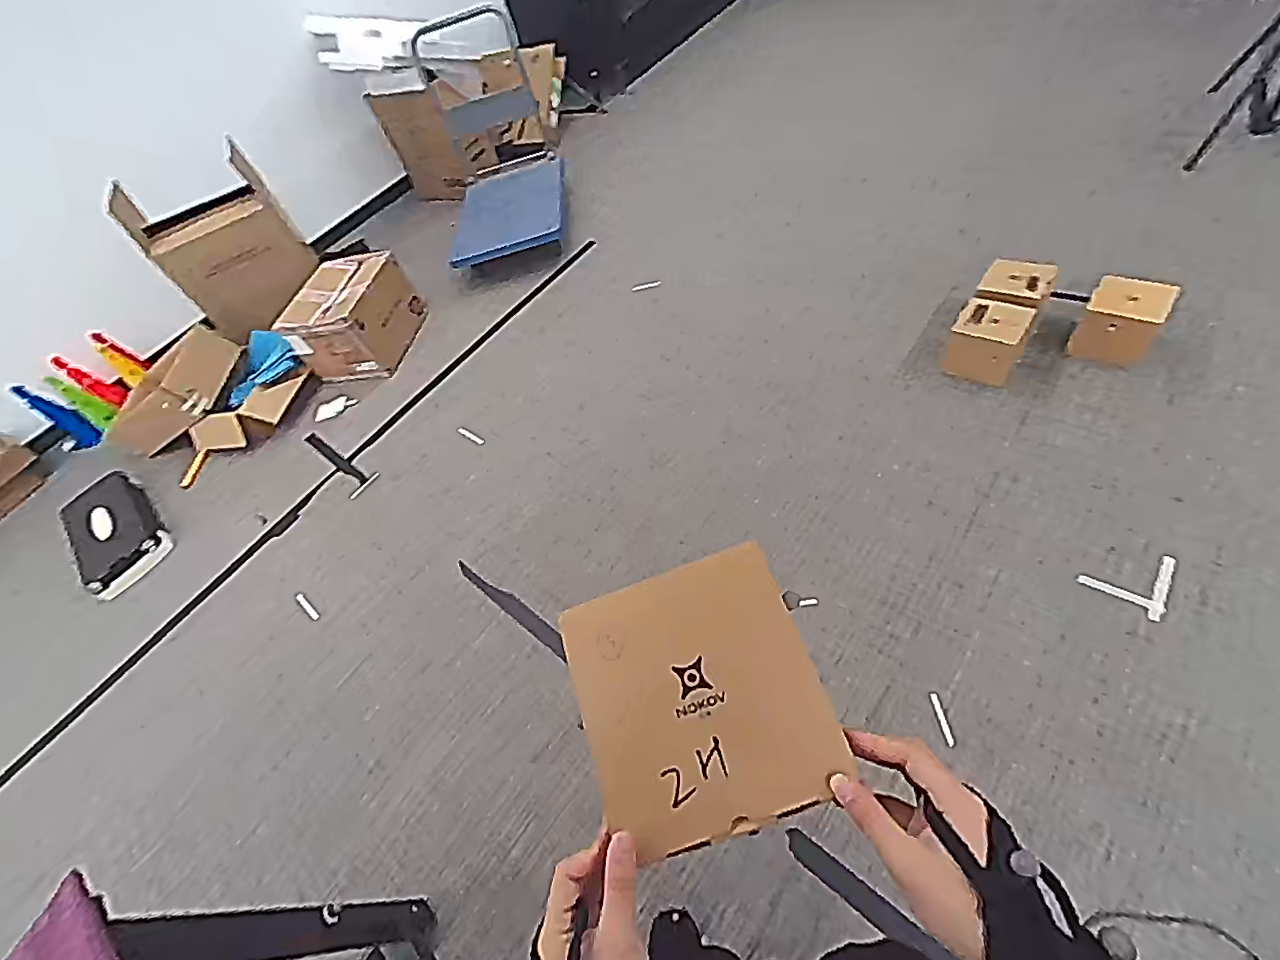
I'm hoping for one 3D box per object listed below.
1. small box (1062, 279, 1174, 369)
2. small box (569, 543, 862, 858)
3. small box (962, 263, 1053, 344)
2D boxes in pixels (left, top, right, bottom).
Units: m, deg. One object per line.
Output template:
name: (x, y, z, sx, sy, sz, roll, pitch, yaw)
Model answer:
small box: (1.375, -0.447, 1.564, 0.179, 0.176, 0.168, 28, 67, 33)
small box: (0.057, 0.181, 0.455, 0.168, 0.176, 0.179, -21, 62, 3)
small box: (1.160, -0.556, 1.715, 0.179, 0.176, 0.168, 26, 66, 33)
